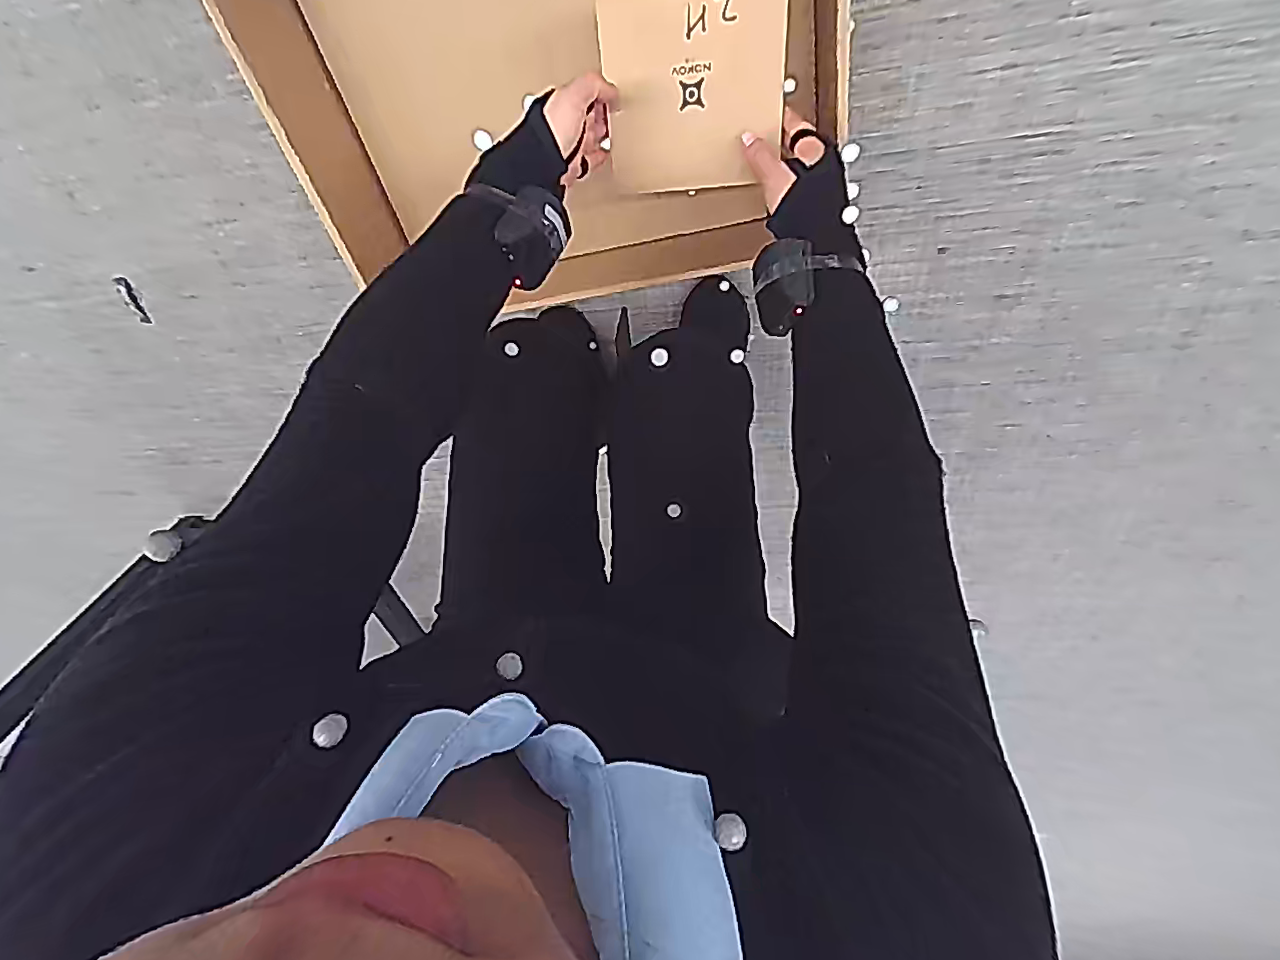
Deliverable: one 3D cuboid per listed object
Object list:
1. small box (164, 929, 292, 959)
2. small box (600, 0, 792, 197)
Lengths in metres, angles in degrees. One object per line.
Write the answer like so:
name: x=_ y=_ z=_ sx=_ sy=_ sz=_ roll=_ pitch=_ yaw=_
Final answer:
small box: x=-0.838 y=1.008 z=1.058 sx=0.168 sy=0.176 sz=0.179 roll=-1 pitch=131 yaw=10
small box: x=0.058 y=-0.403 z=0.557 sx=0.168 sy=0.176 sz=0.179 roll=0 pitch=124 yaw=6
